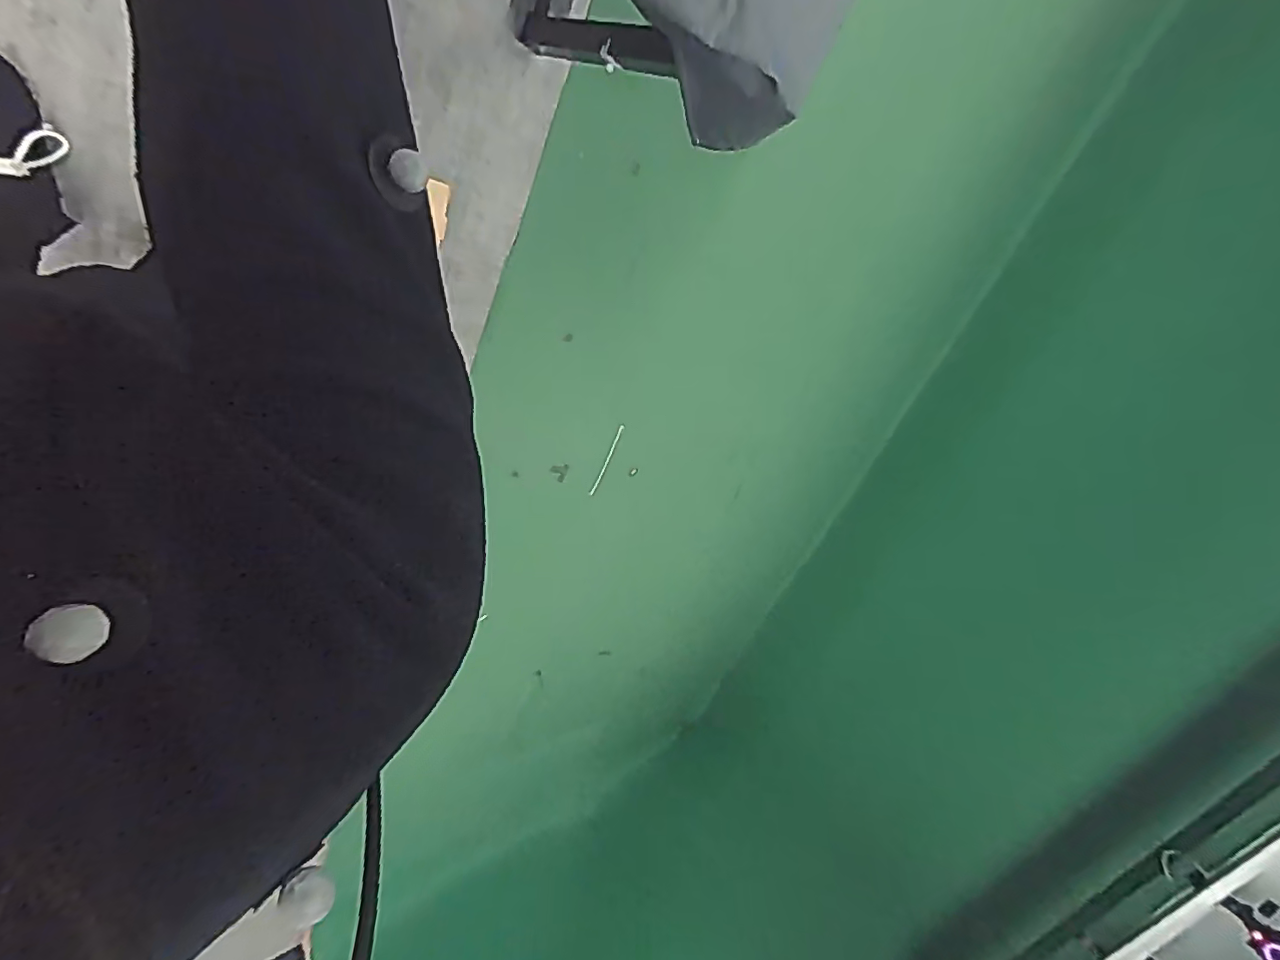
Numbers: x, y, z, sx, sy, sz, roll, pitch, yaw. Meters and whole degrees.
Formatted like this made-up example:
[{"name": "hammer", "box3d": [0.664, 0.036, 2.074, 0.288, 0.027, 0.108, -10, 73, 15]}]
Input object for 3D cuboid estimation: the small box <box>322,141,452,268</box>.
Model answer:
[{"name": "small box", "box3d": [-0.508, -0.551, 1.082, 0.179, 0.176, 0.168, -2, 124, -45]}]
